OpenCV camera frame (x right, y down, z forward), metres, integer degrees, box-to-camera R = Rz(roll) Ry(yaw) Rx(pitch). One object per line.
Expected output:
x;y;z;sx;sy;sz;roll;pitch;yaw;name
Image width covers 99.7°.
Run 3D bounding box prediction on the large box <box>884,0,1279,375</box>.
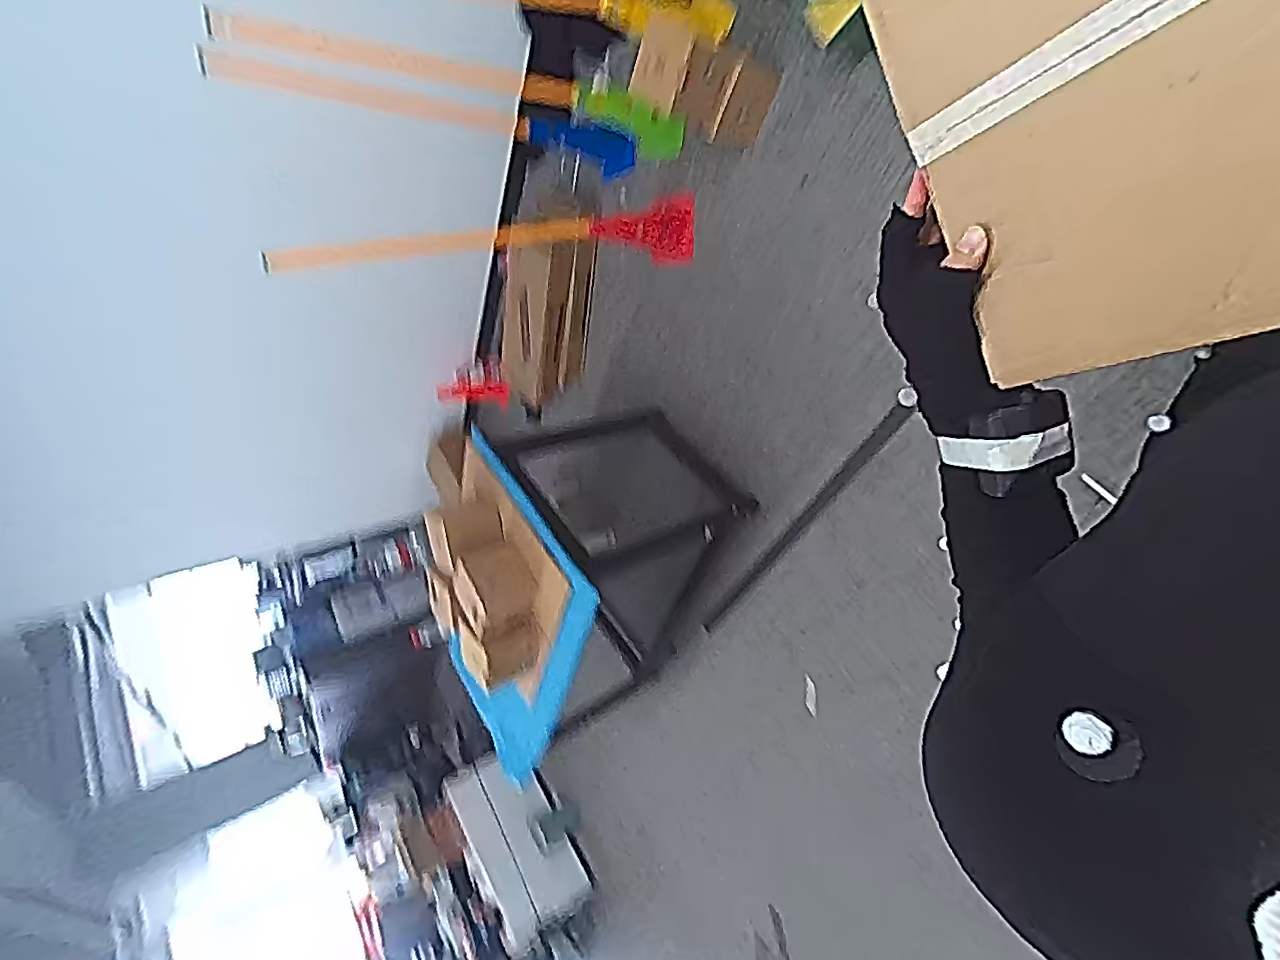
0.393;-0.288;0.253;0.408;0.320;0.320;-9;110;53;large box
